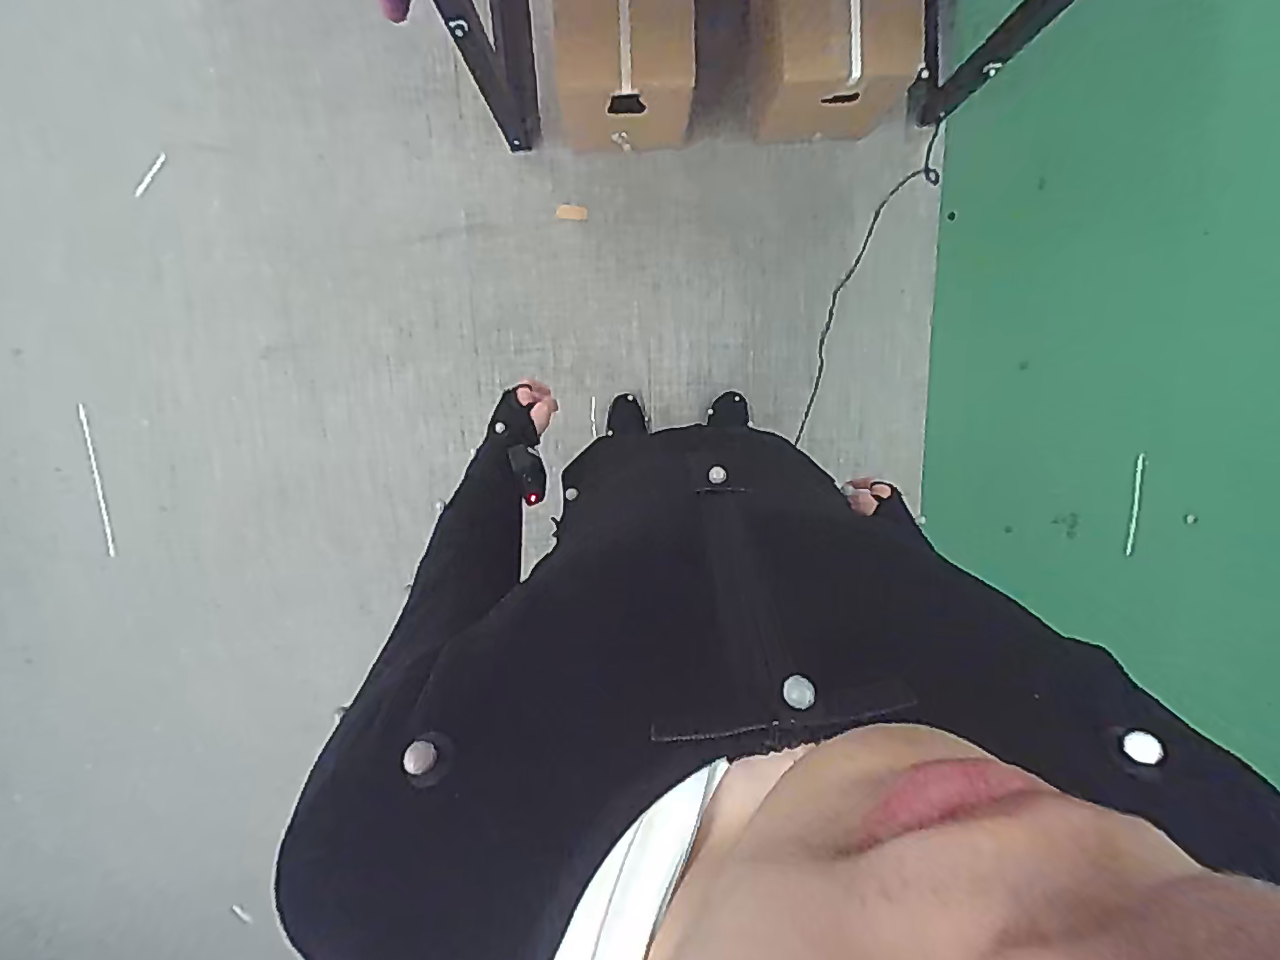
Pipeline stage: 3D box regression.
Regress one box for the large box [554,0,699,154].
[{"bbox_3d":[-0.031,-1.078,1.312,0.320,0.320,0.408,-2,98,0],"label":"large box"}]
